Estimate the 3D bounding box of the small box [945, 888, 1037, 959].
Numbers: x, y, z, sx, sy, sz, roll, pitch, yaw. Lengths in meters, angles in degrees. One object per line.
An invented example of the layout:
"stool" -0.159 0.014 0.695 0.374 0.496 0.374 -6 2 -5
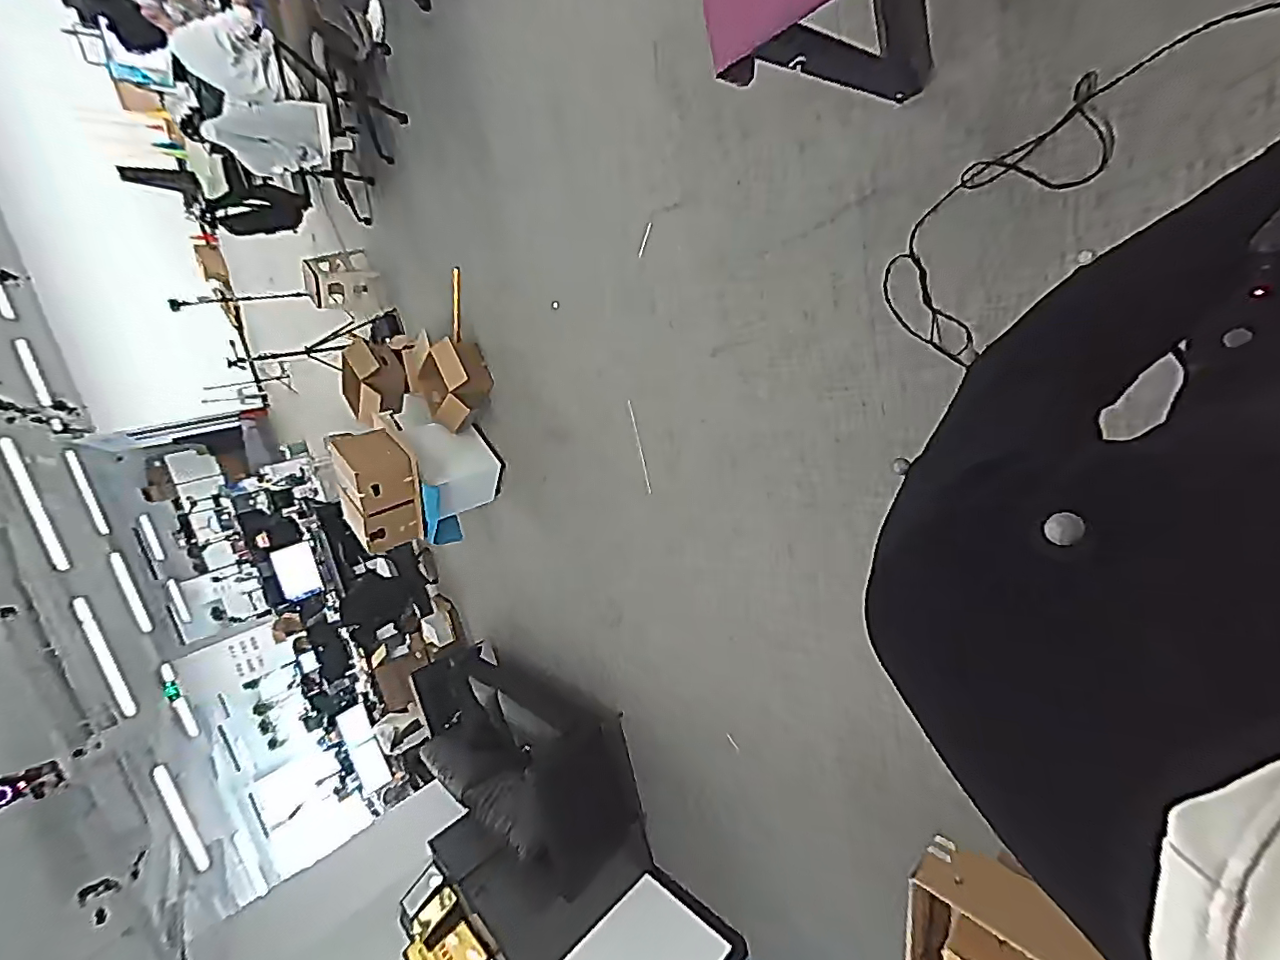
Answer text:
"small box" 0.916 1.236 1.412 0.168 0.176 0.179 10 115 46
